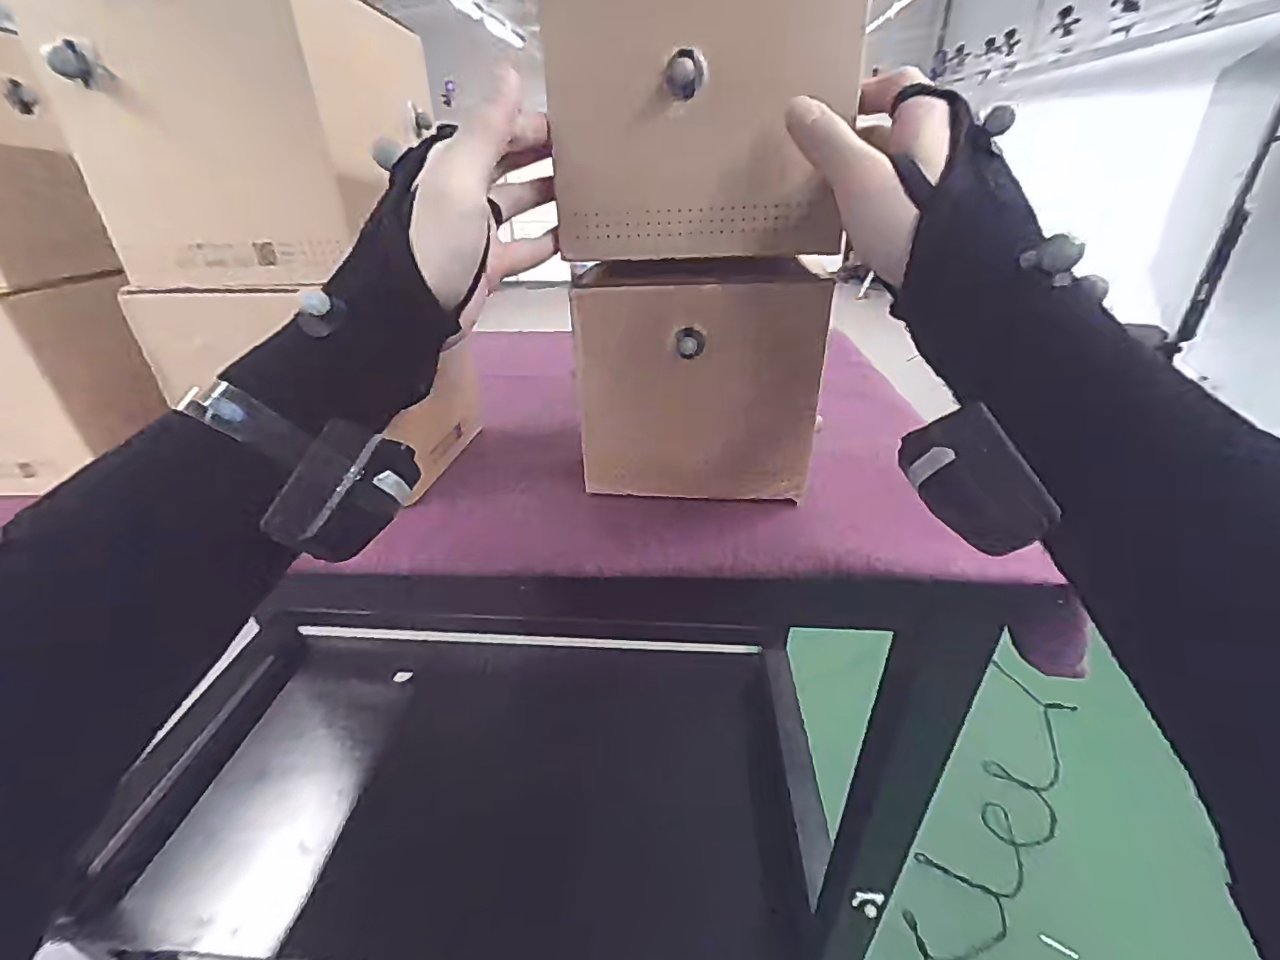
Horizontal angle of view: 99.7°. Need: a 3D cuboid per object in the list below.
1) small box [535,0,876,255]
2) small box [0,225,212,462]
[{"bbox_3d":[0.041,-0.246,0.353,0.179,0.176,0.168,2,26,6],"label":"small box"},{"bbox_3d":[-0.535,-0.125,0.476,0.168,0.176,0.179,0,29,0],"label":"small box"}]
